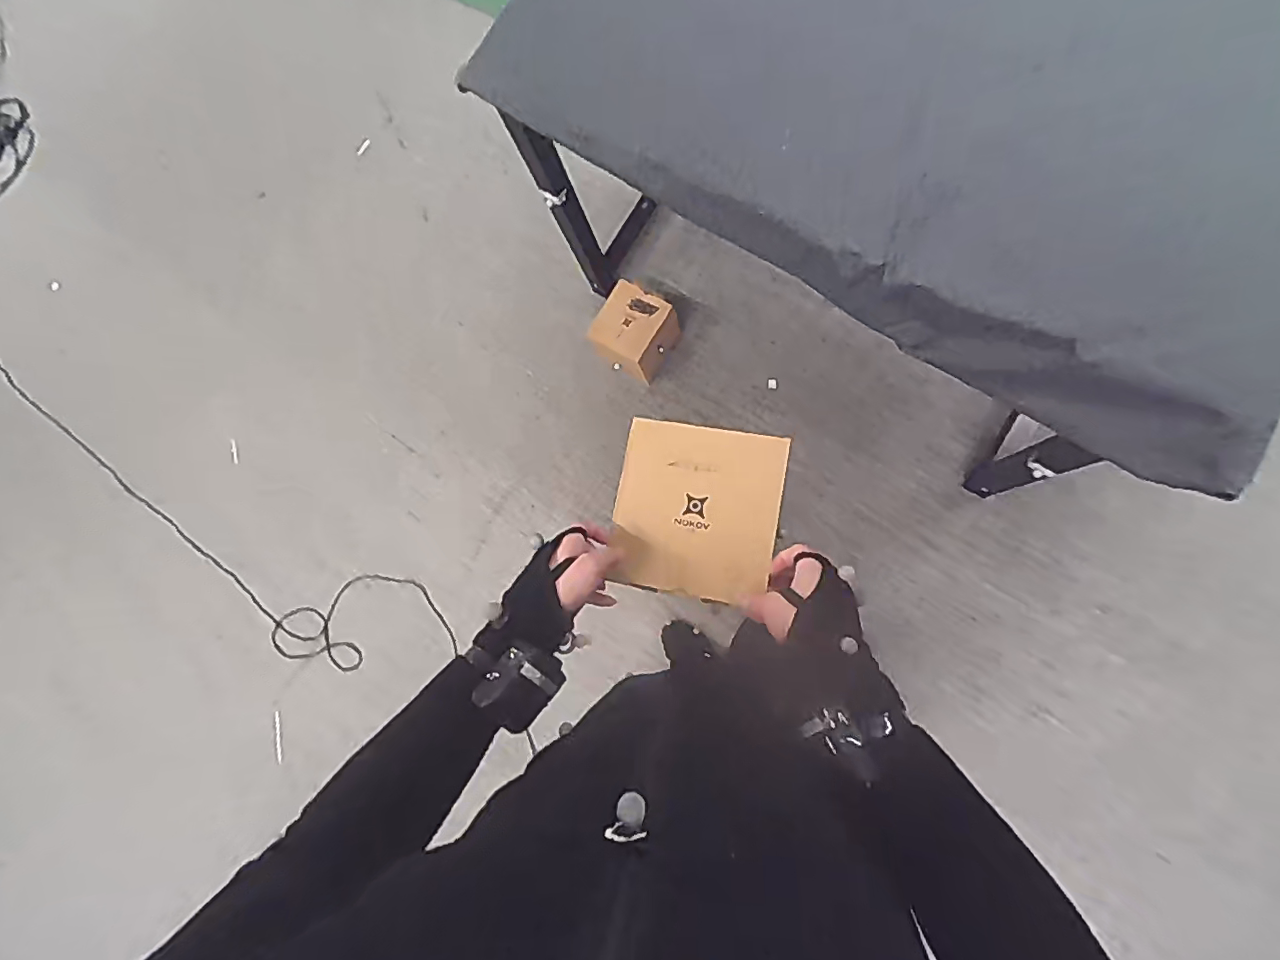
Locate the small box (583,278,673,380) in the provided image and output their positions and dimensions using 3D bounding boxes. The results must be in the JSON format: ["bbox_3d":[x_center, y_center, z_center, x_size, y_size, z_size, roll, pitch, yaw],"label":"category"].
[{"bbox_3d":[-0.024,-0.398,1.450,0.168,0.176,0.179,31,89,14],"label":"small box"}]

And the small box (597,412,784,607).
[{"bbox_3d":[0.062,0.038,0.615,0.168,0.176,0.179,8,81,10],"label":"small box"}]
